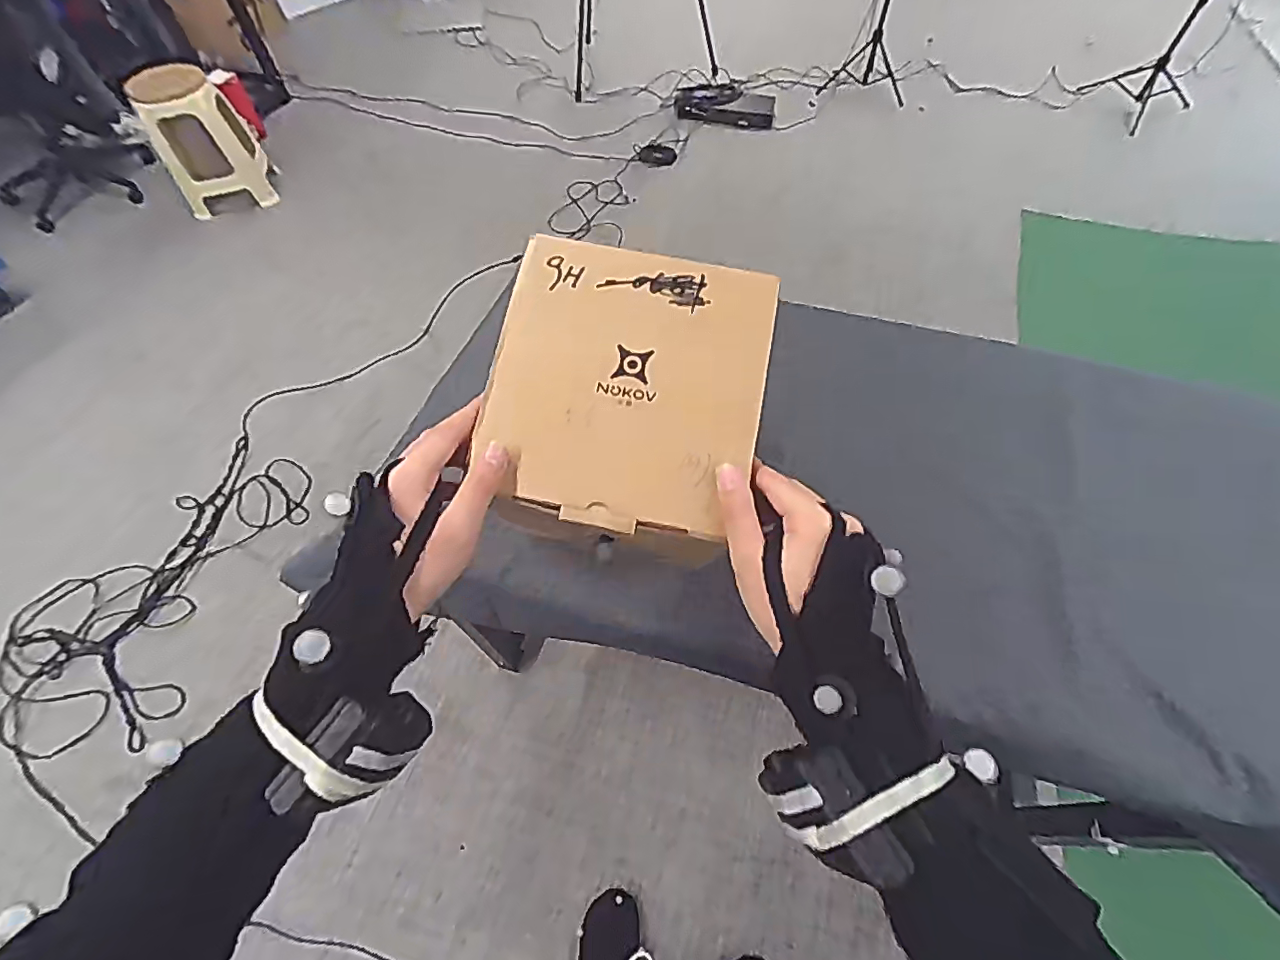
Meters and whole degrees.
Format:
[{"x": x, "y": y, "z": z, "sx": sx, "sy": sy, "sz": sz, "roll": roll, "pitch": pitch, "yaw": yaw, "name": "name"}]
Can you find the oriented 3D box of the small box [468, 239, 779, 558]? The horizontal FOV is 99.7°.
[{"x": -0.006, "y": -0.043, "z": 0.410, "sx": 0.168, "sy": 0.176, "sz": 0.179, "roll": 11, "pitch": 77, "yaw": 2, "name": "small box"}]
